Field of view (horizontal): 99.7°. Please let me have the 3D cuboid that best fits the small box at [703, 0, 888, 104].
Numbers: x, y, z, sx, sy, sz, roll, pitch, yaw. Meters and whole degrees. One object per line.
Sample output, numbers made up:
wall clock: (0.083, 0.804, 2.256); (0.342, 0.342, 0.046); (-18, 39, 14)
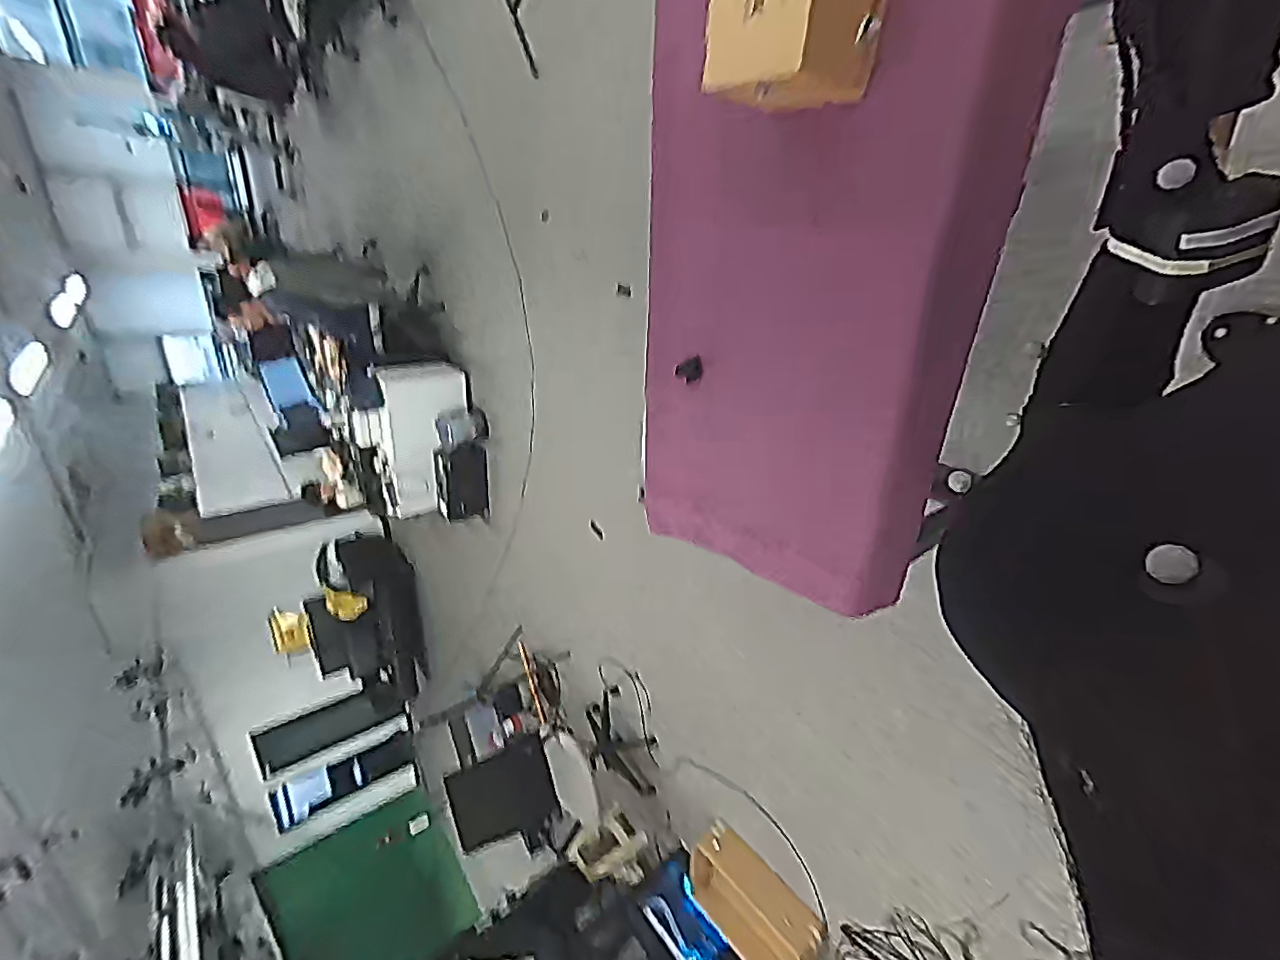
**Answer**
small box: (0.213, -0.633, 0.741); (0.179, 0.176, 0.168); (30, 126, 43)
